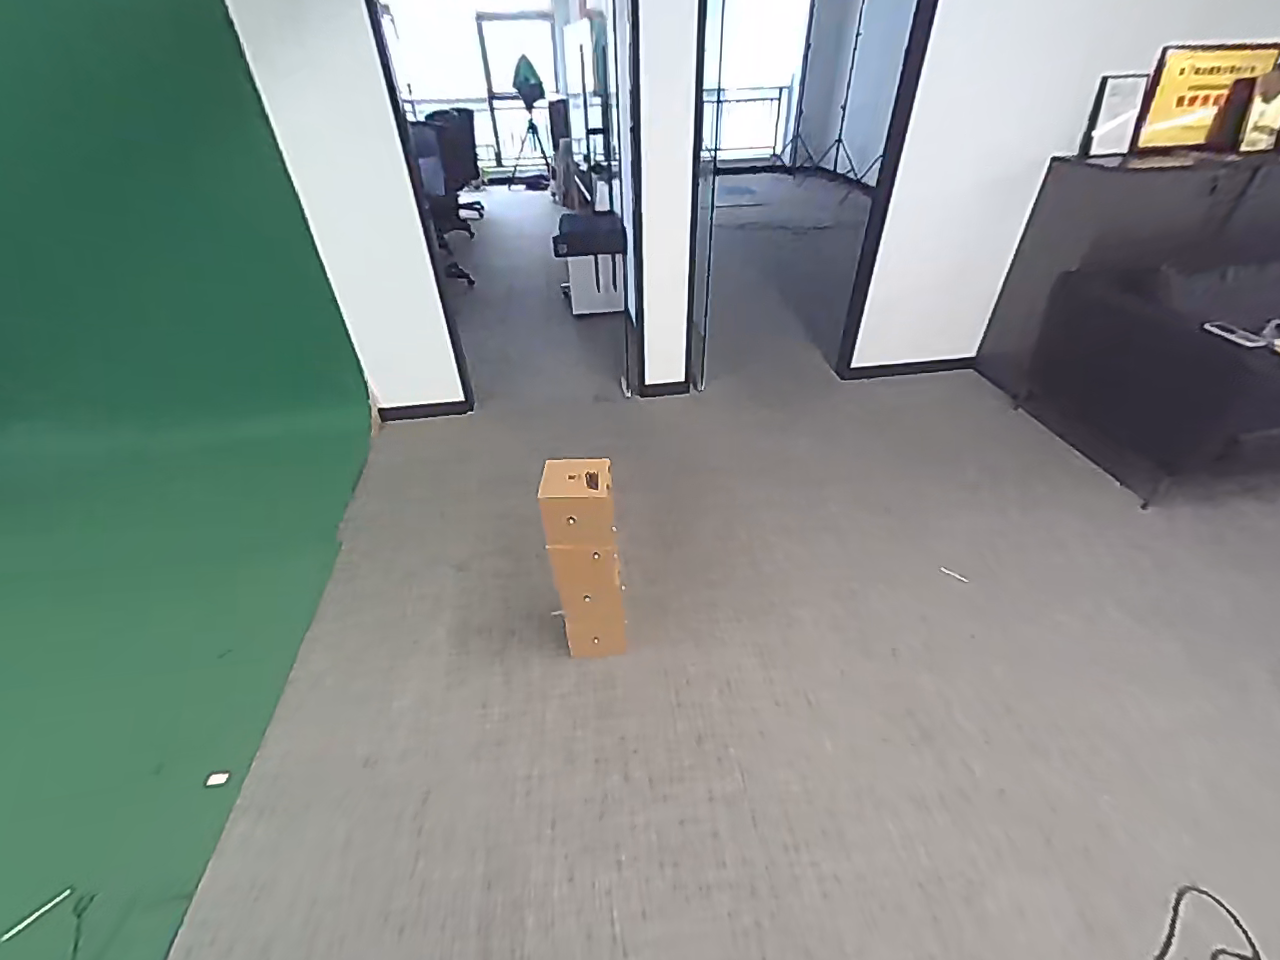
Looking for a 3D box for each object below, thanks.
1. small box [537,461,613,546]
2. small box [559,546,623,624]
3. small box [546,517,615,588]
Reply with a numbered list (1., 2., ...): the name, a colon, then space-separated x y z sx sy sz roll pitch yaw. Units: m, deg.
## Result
1. small box: -0.167 0.064 1.456 0.179 0.176 0.168 -2 38 2
2. small box: -0.149 0.323 1.655 0.179 0.176 0.168 -4 39 -3
3. small box: -0.165 0.196 1.554 0.179 0.176 0.168 -2 38 -1
